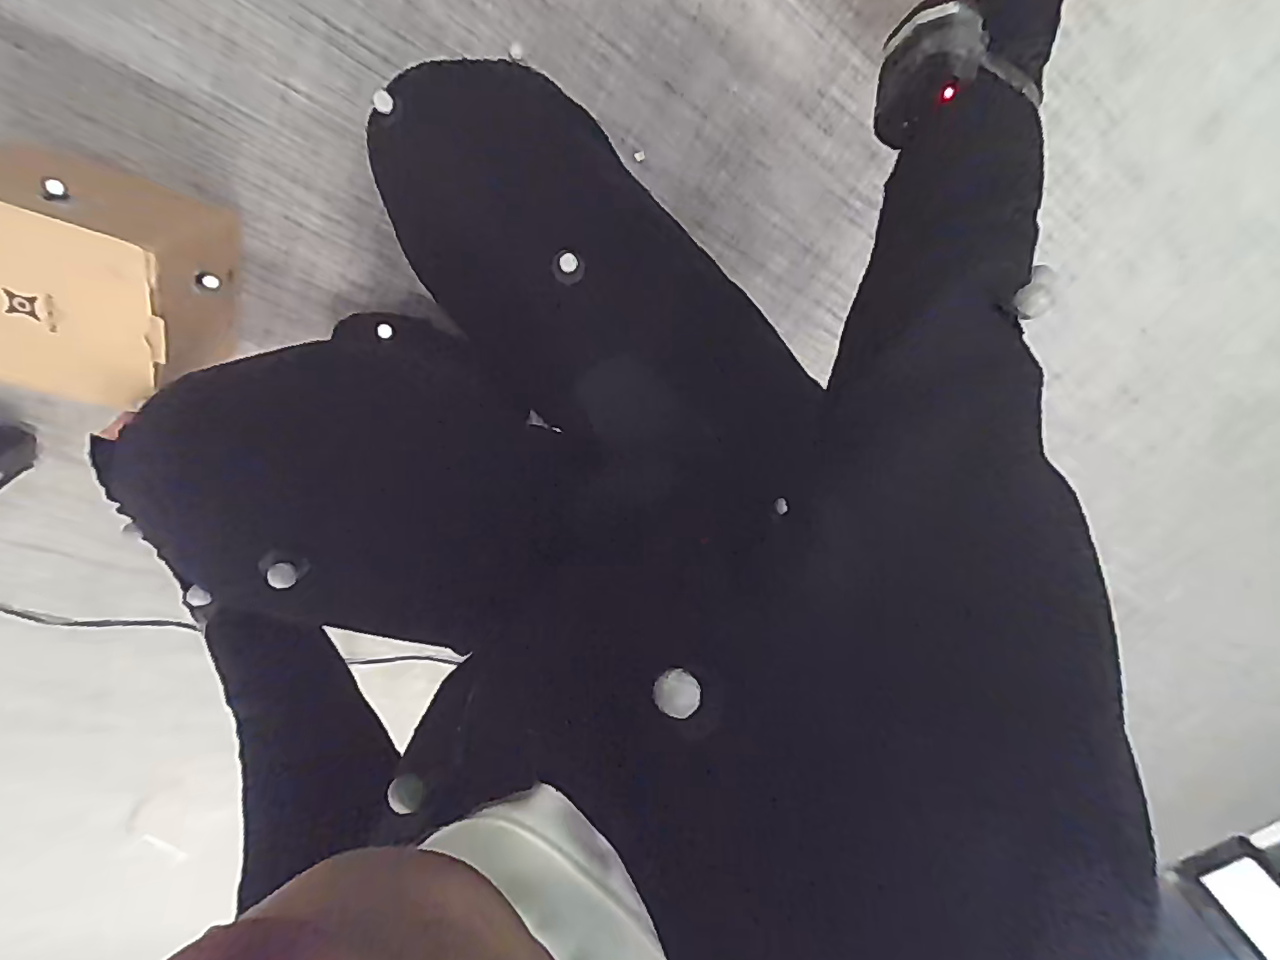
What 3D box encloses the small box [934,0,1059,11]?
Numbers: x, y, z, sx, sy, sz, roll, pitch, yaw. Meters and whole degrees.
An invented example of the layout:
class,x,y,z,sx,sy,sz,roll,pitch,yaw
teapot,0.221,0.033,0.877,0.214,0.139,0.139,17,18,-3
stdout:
class,x,y,z,sx,sy,sz,roll,pitch,yaw
small box,0.310,-0.517,0.421,0.168,0.176,0.179,28,118,-27
